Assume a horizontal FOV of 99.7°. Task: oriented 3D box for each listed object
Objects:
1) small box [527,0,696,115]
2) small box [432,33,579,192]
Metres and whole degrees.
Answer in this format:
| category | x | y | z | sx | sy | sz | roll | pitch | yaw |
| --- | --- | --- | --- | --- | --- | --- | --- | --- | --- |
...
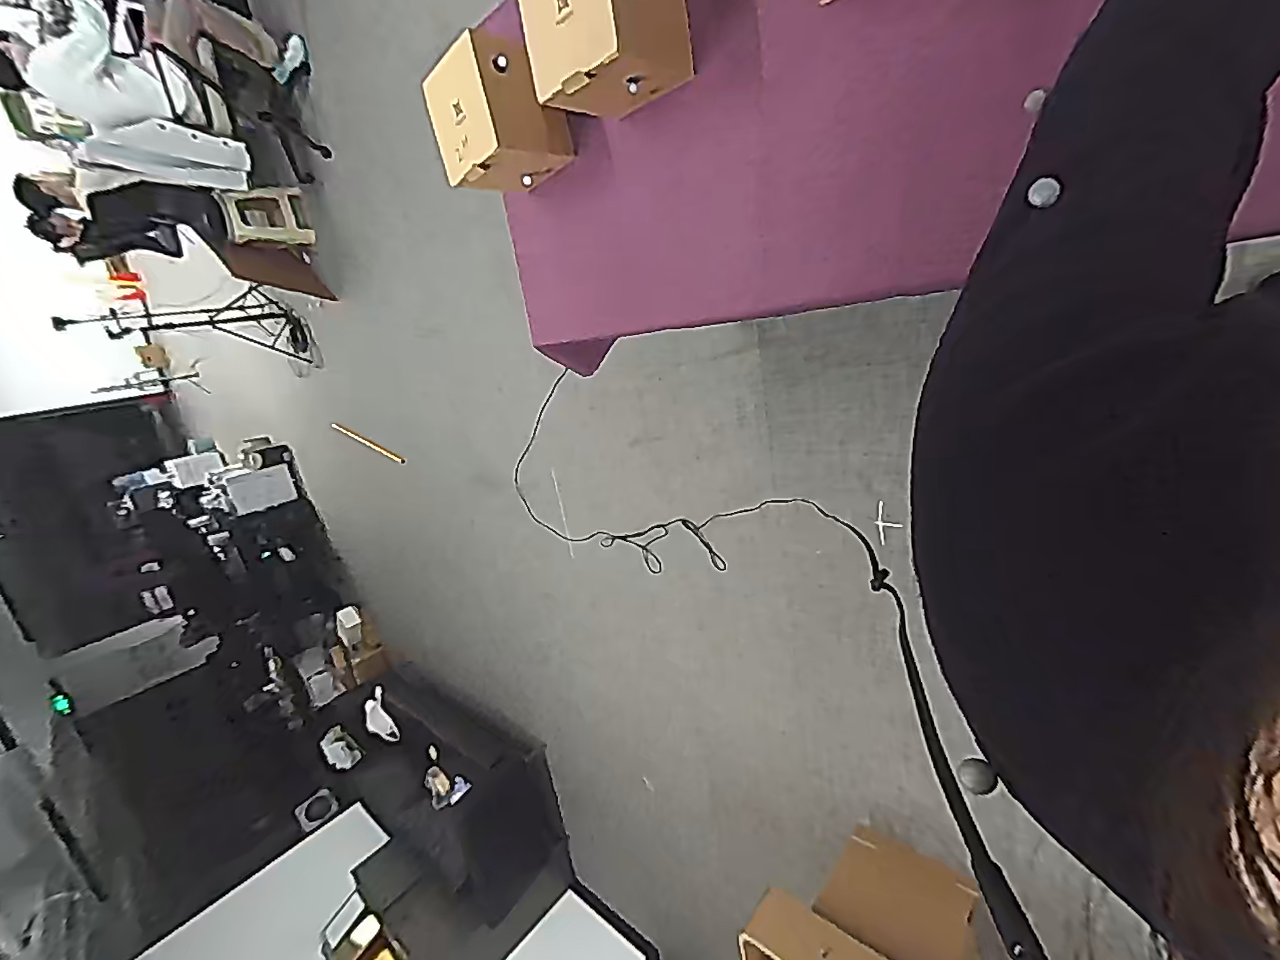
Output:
| category | x | y | z | sx | sy | sz | roll | pitch | yaw |
| --- | --- | --- | --- | --- | --- | --- | --- | --- | --- |
| small box | -0.036 | -0.646 | 0.769 | 0.168 | 0.176 | 0.179 | 6 | 112 | 42 |
| small box | -0.236 | -0.638 | 0.967 | 0.168 | 0.176 | 0.179 | -1 | 108 | 45 |
